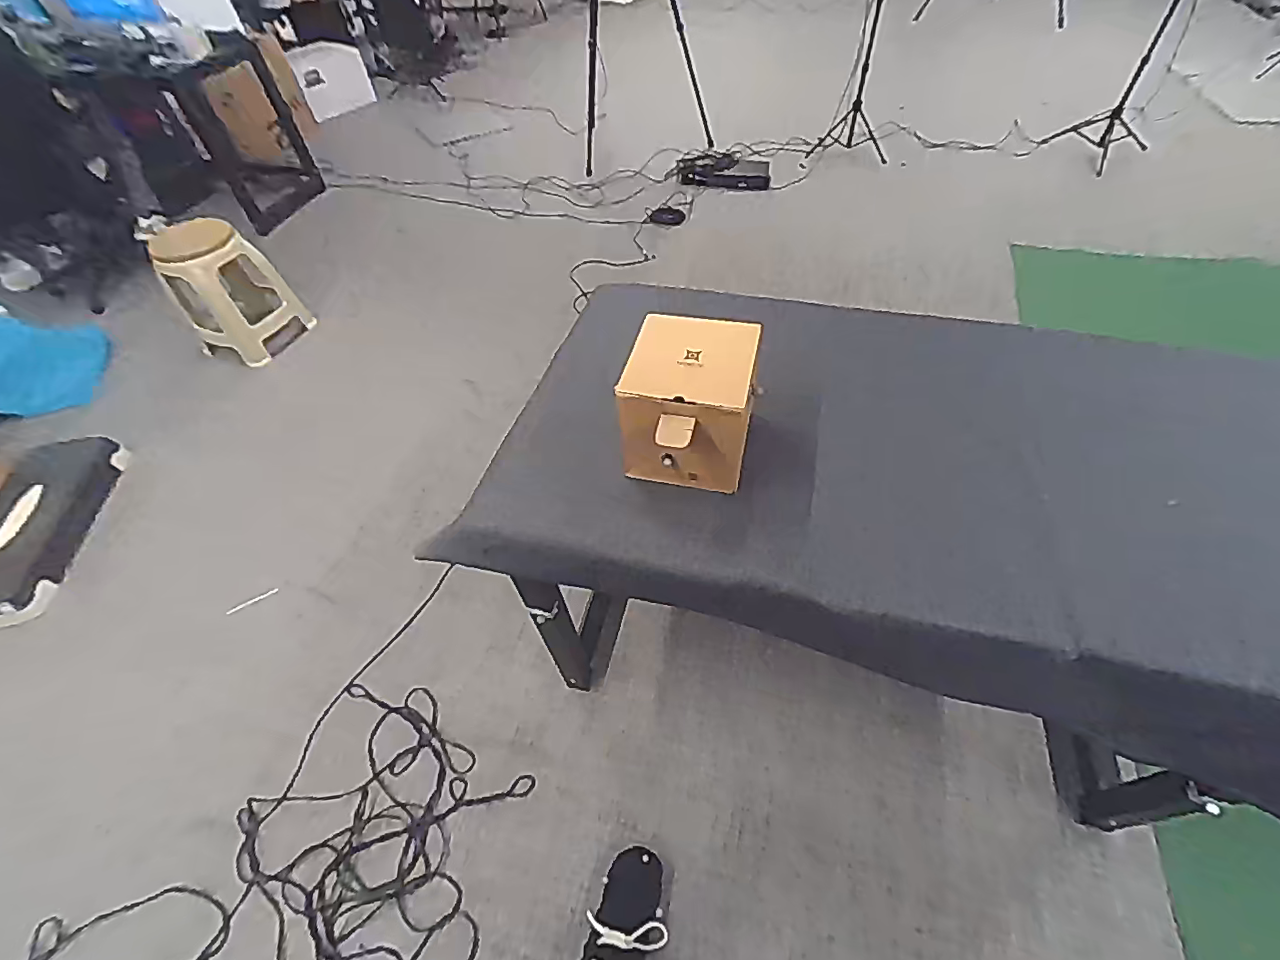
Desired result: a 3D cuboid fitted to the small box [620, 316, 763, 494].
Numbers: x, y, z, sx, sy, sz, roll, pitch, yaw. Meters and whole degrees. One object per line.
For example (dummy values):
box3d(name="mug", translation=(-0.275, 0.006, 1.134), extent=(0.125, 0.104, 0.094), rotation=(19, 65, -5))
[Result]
box3d(name="small box", translation=(0.075, -0.108, 0.778), extent=(0.168, 0.176, 0.179), rotation=(9, 53, 11))
